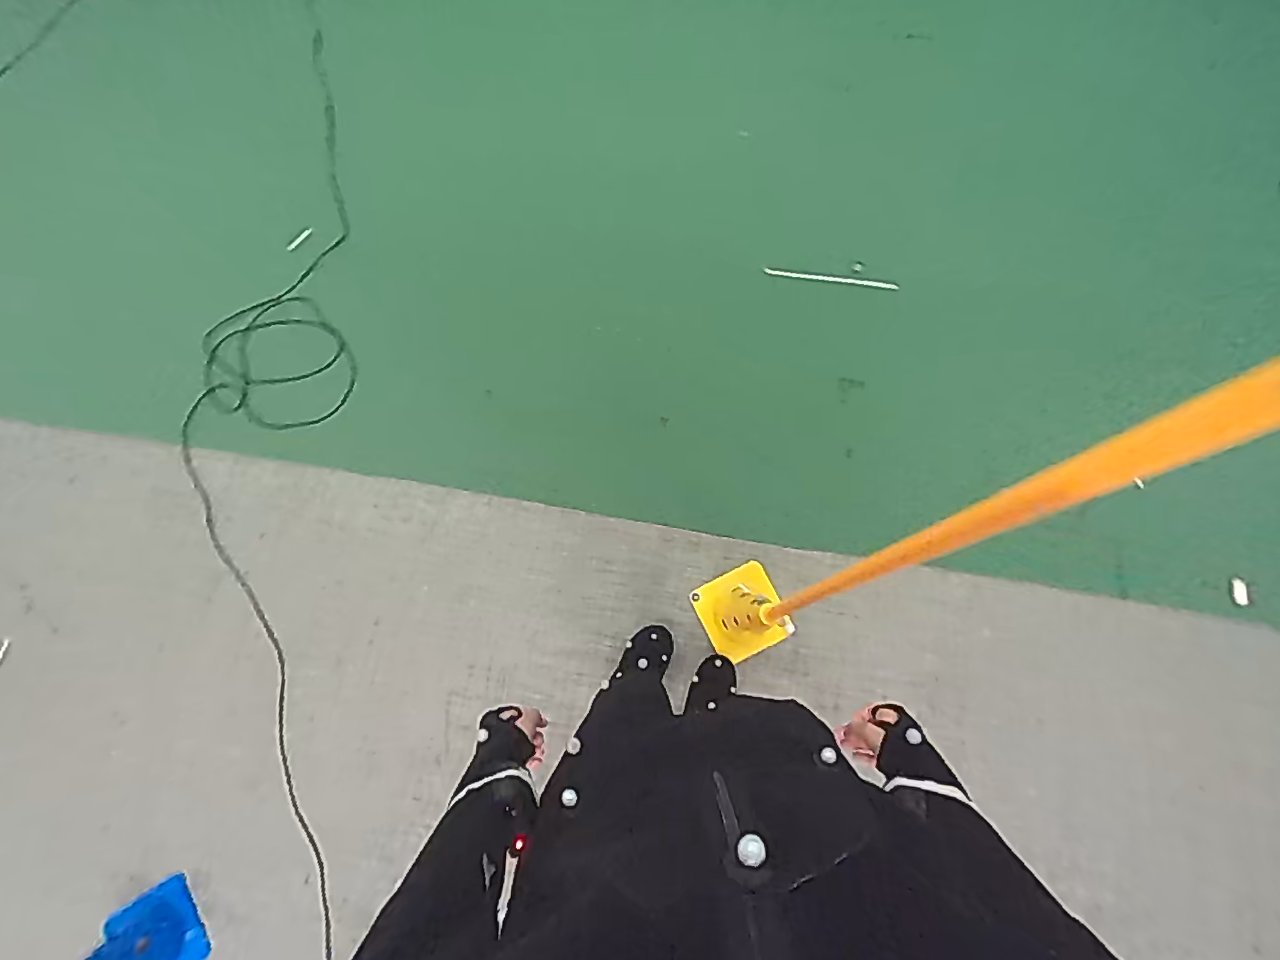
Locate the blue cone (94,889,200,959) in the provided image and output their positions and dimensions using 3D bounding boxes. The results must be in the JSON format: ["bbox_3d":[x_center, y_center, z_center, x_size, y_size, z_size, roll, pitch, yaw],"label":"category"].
[{"bbox_3d":[-1.096,1.017,1.042,0.193,0.380,0.192,-35,79,-4],"label":"blue cone"}]
